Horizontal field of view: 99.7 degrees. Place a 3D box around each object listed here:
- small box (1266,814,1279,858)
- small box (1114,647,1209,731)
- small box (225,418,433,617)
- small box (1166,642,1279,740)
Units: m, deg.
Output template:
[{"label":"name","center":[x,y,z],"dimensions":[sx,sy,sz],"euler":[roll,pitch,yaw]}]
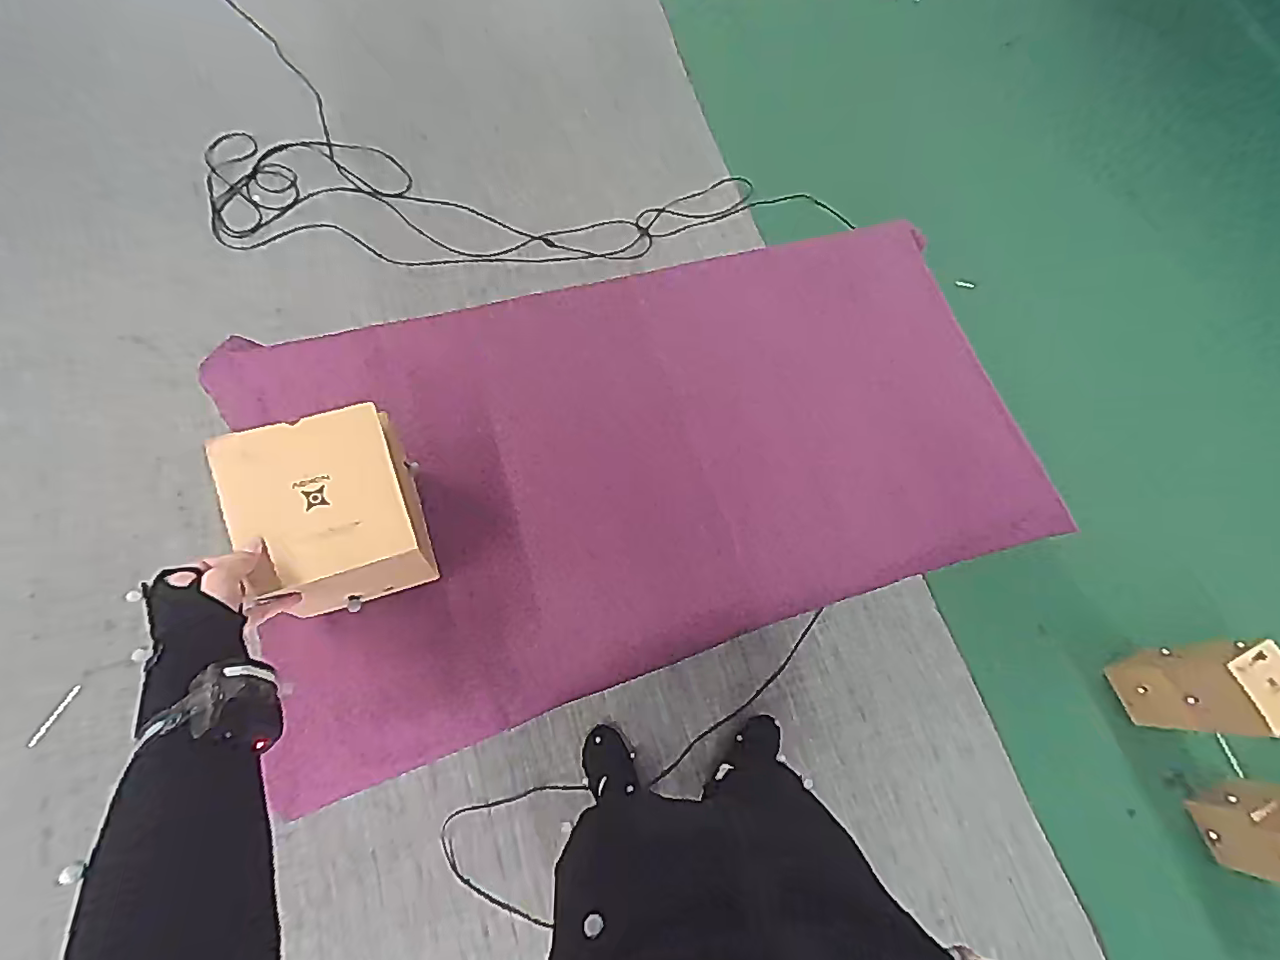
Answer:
[{"label":"small box","center":[1.617,0.855,1.229],"dimensions":[0.179,0.176,0.168],"euler":[-25,75,-14]},{"label":"small box","center":[1.466,0.572,1.487],"dimensions":[0.179,0.176,0.168],"euler":[-17,73,-13]},{"label":"small box","center":[-0.365,0.052,0.660],"dimensions":[0.168,0.176,0.179],"euler":[-16,73,-17]},{"label":"small box","center":[1.484,0.513,1.335],"dimensions":[0.168,0.176,0.179],"euler":[-19,74,-13]}]
